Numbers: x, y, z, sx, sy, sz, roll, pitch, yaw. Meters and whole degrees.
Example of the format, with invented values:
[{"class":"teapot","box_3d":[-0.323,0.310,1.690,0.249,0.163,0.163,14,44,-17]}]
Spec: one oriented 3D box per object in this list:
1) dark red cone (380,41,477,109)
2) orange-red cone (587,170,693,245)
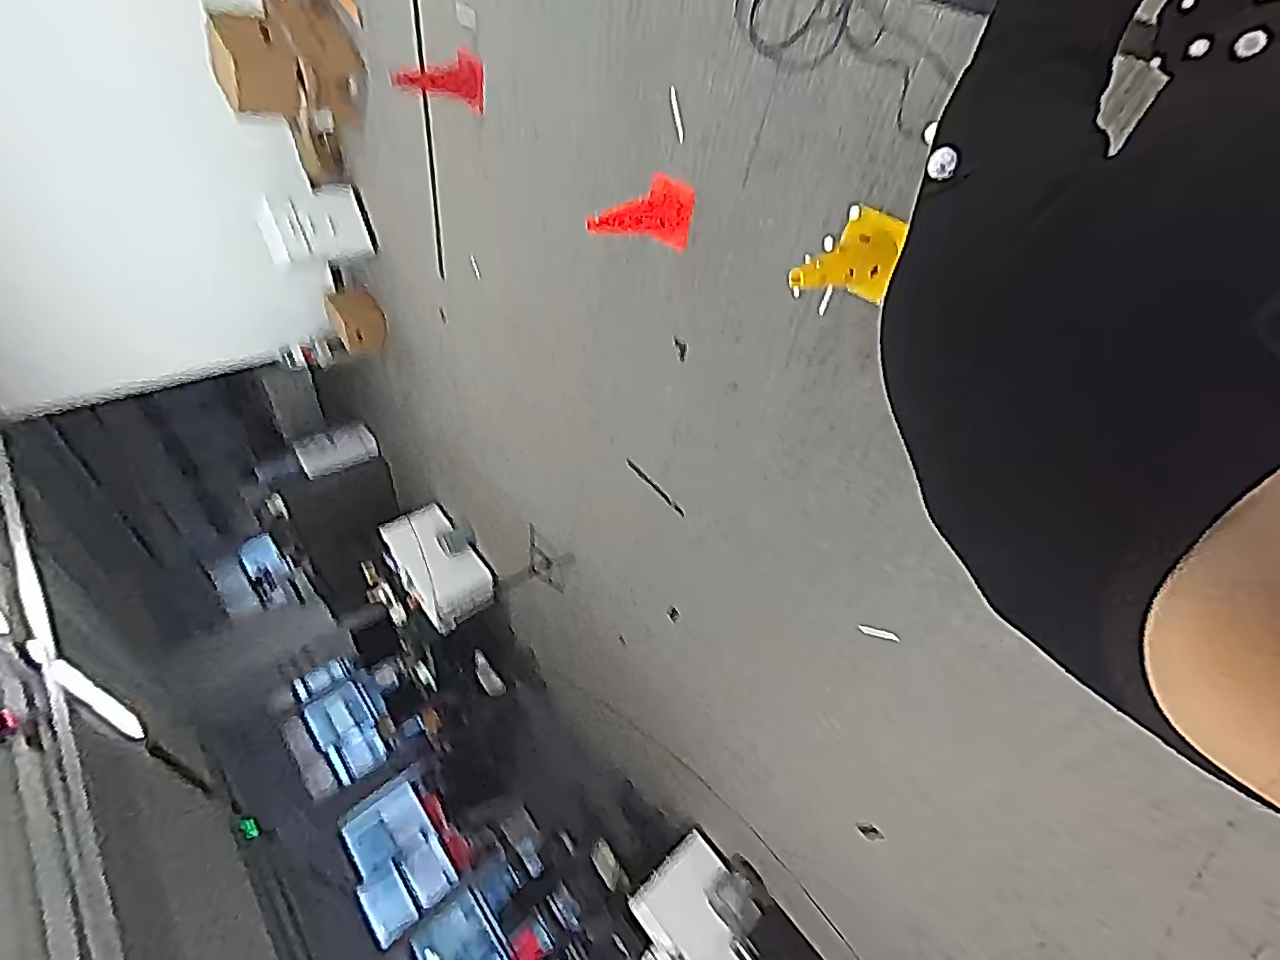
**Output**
[{"class":"dark red cone","box_3d":[-0.884,-1.705,2.265,0.202,0.394,0.201,47,142,21]},{"class":"orange-red cone","box_3d":[-0.024,-0.868,1.766,0.199,0.360,0.198,40,141,27]}]
